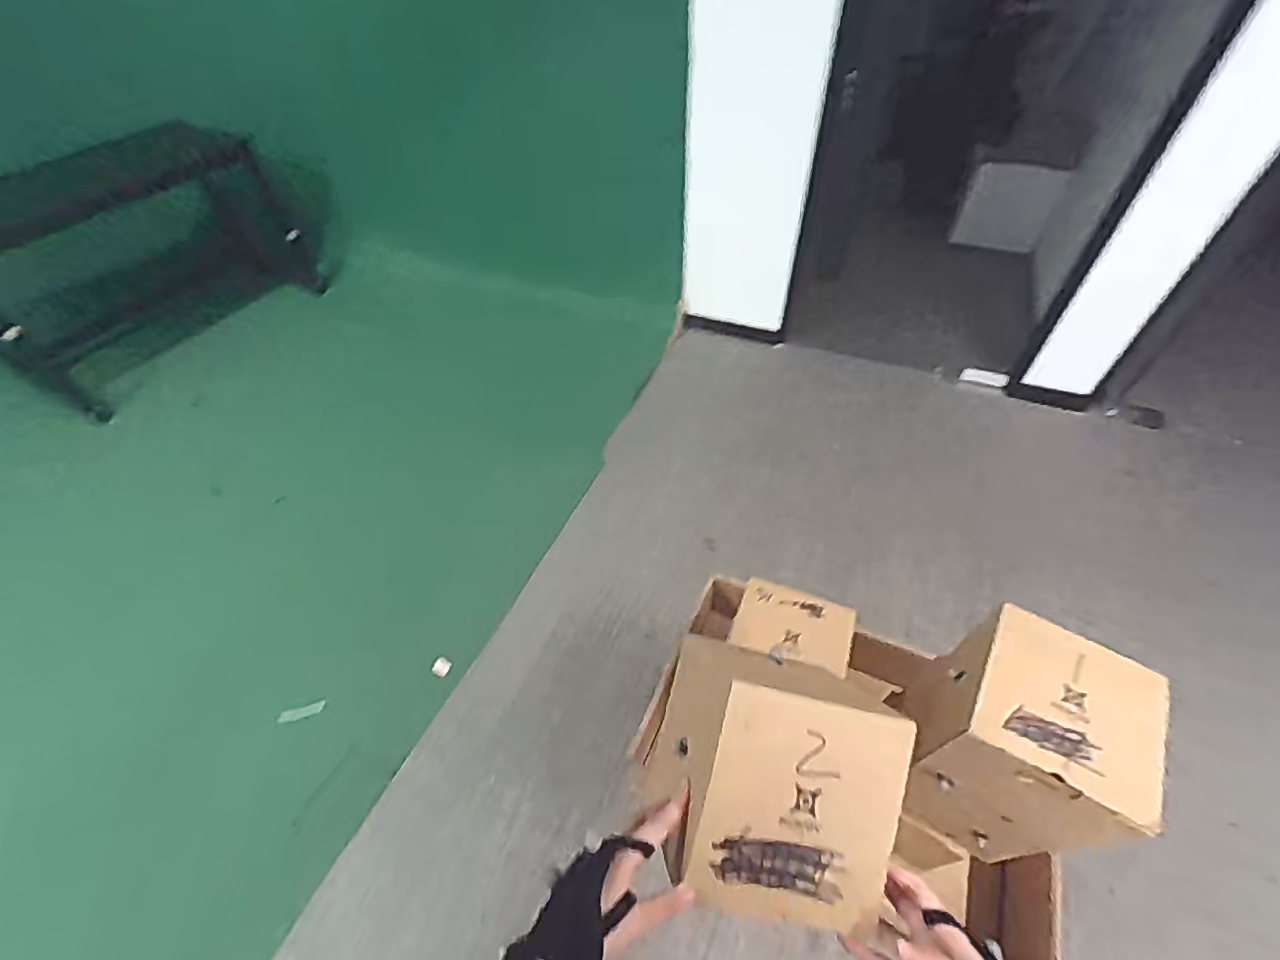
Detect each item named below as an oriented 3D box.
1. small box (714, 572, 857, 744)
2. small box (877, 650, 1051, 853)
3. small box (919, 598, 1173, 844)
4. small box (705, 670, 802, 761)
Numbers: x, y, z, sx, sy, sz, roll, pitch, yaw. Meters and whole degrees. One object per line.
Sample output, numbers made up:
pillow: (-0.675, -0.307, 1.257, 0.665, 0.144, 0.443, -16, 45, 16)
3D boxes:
small box: (0.217, 0.278, 0.836, 0.168, 0.176, 0.179, 18, 54, 15)
small box: (0.449, 0.378, 0.747, 0.168, 0.176, 0.179, 25, 55, 21)
small box: (0.447, 0.277, 0.618, 0.168, 0.176, 0.179, 28, 56, 22)
small box: (0.220, 0.370, 0.972, 0.168, 0.176, 0.179, 17, 53, 16)
